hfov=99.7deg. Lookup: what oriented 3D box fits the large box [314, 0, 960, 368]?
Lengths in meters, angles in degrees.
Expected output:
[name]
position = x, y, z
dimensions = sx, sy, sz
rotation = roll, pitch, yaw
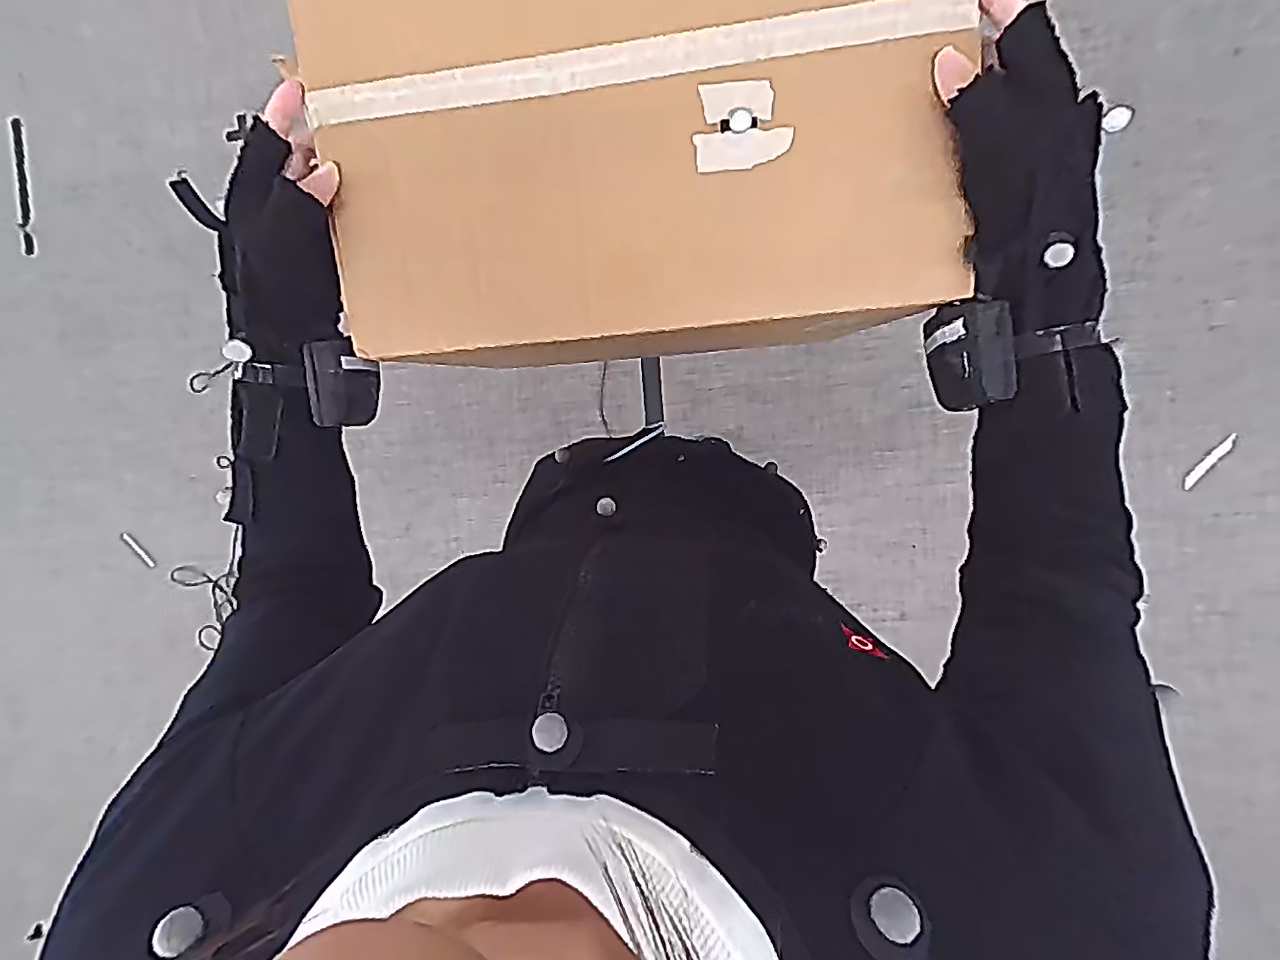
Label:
[large box]
position = 0.003, -0.282, 0.488
dimensions = 0.408, 0.320, 0.320
rotation = -5, 101, 5
